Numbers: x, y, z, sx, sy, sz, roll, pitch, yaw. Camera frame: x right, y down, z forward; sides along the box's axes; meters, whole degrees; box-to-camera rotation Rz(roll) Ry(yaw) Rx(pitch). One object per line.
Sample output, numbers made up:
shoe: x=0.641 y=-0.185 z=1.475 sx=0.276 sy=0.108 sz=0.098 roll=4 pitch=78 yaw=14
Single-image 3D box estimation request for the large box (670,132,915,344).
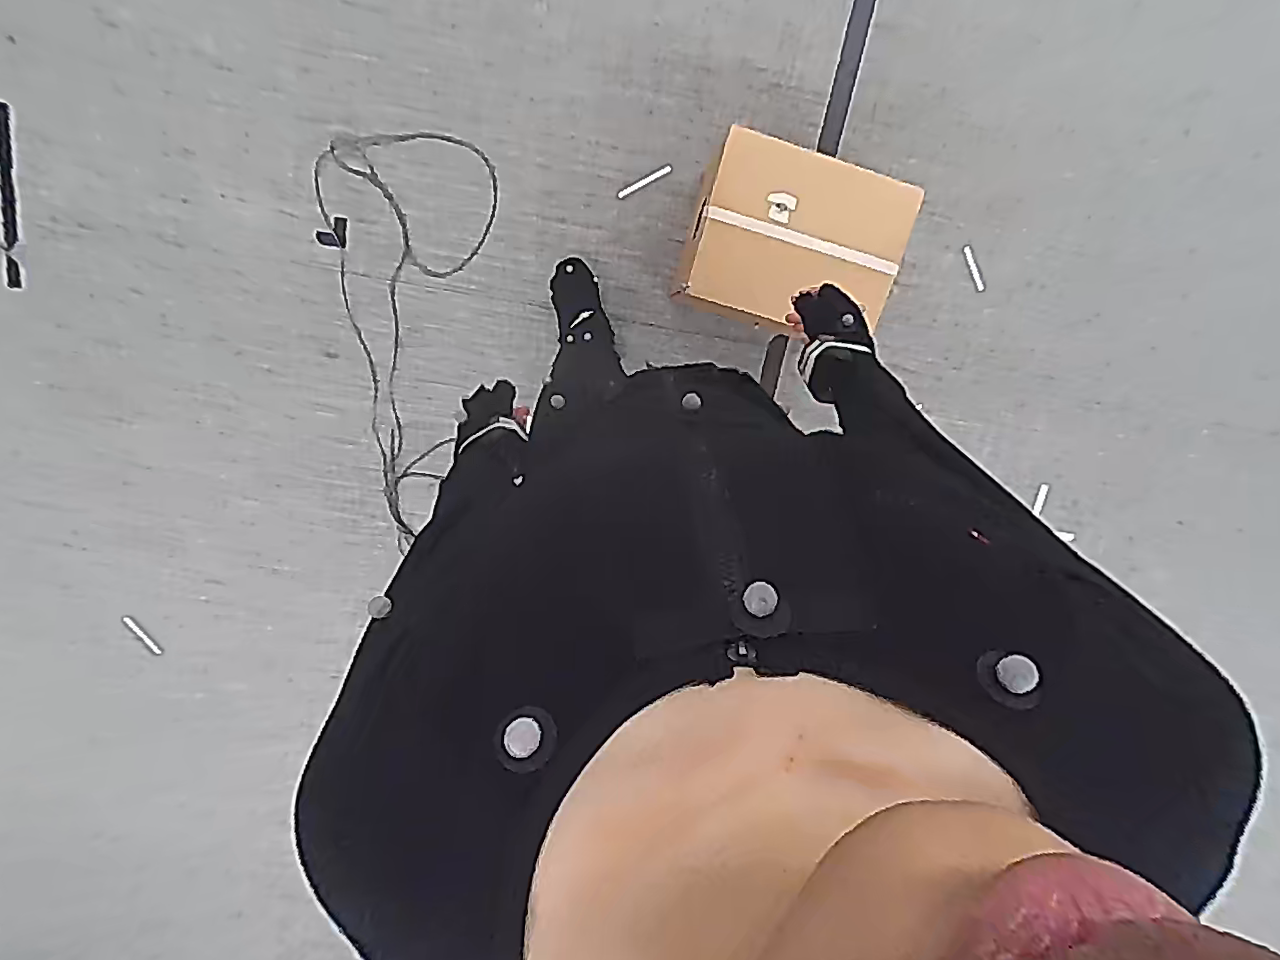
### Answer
large box: x=0.309 y=-0.513 z=1.219 sx=0.408 sy=0.320 sz=0.320 roll=14 pitch=104 yaw=-6
